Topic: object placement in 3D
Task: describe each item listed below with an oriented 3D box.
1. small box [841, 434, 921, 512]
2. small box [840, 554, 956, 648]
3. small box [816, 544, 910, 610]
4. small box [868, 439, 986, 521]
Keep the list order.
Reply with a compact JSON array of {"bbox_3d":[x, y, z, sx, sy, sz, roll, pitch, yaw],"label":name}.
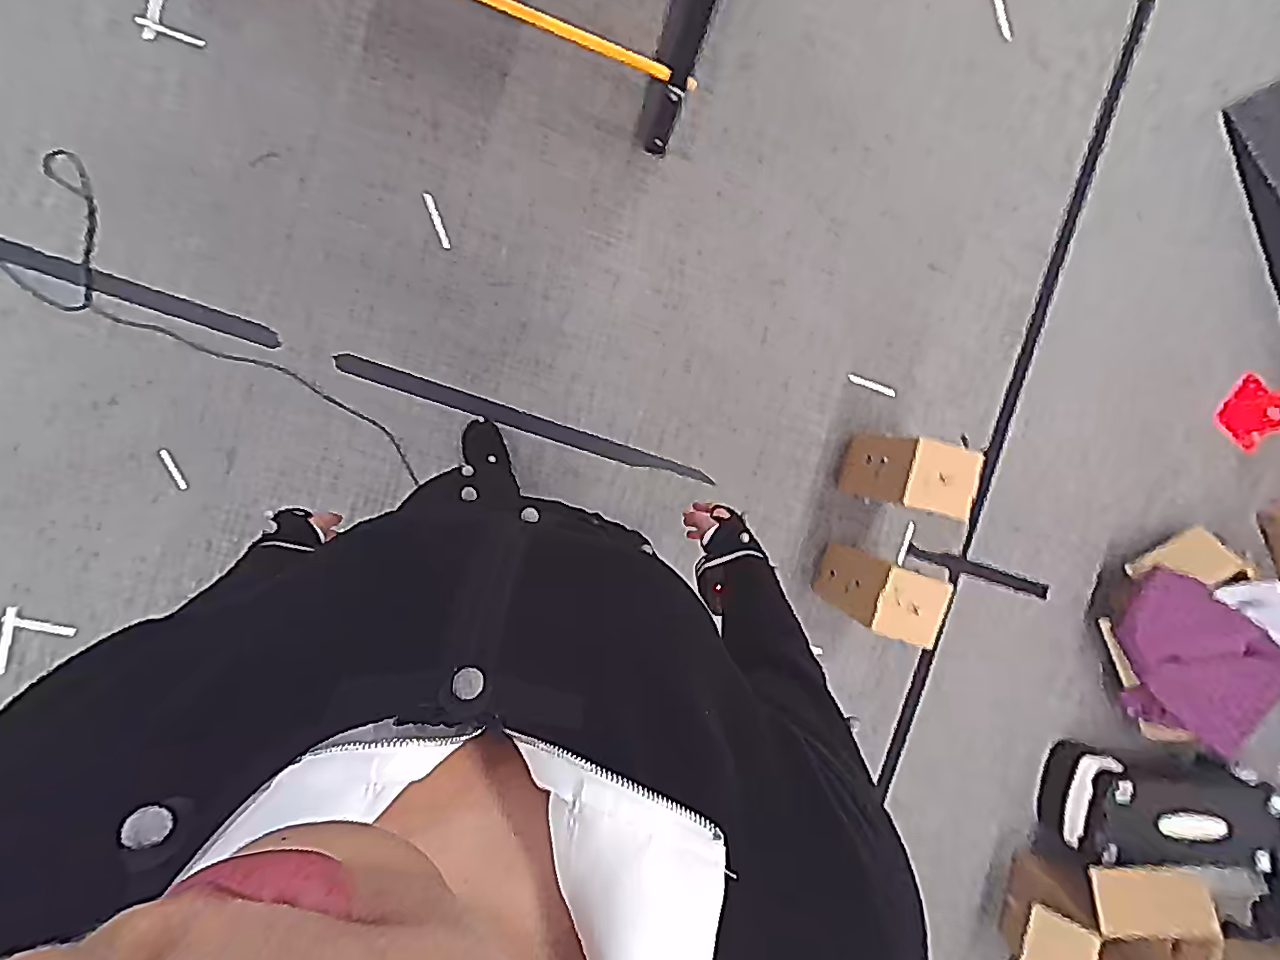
[{"bbox_3d":[0.694,-0.025,1.515,0.168,0.176,0.179,15,94,-8],"label":"small box"},{"bbox_3d":[0.647,0.300,1.376,0.179,0.176,0.168,18,93,-8],"label":"small box"},{"bbox_3d":[0.632,0.289,1.541,0.179,0.176,0.168,17,93,-8],"label":"small box"},{"bbox_3d":[0.710,-0.006,1.355,0.179,0.176,0.168,13,92,-7],"label":"small box"}]
